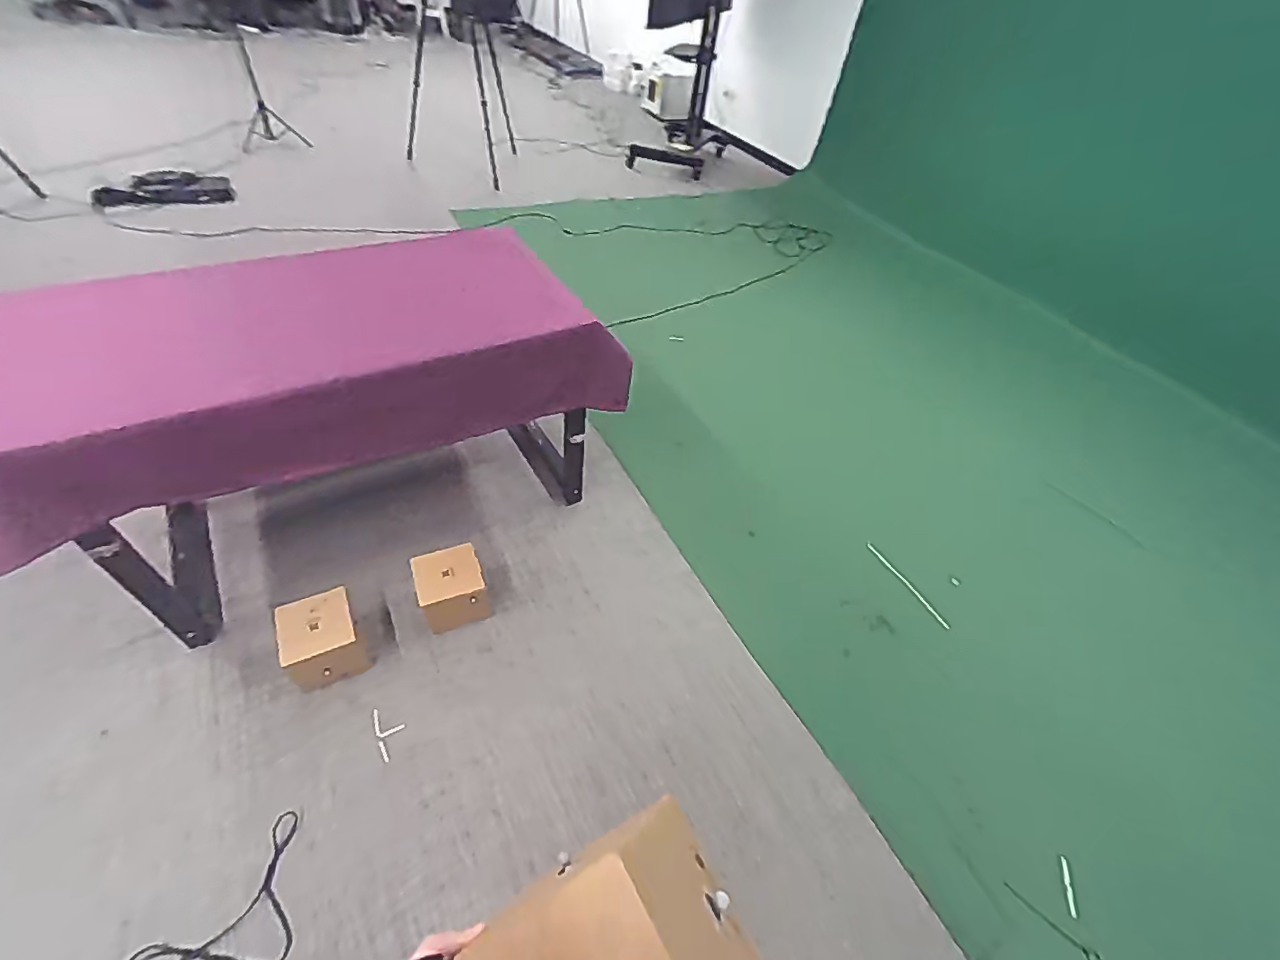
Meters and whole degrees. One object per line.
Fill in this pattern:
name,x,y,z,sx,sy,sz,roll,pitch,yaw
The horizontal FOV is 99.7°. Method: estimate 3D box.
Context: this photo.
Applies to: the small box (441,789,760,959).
small box,-0.020,0.395,0.447,0.179,0.176,0.168,-38,66,3
